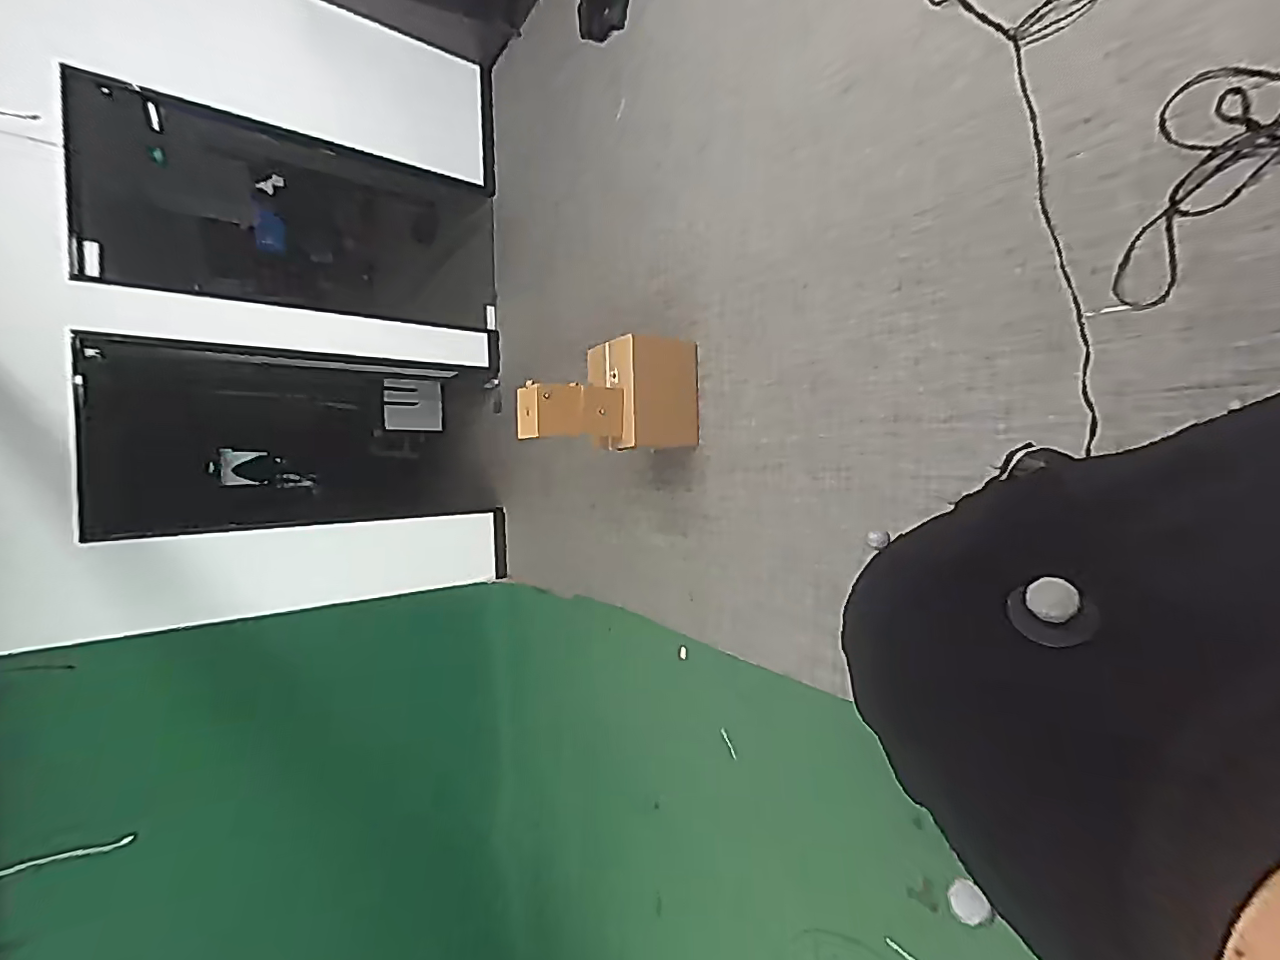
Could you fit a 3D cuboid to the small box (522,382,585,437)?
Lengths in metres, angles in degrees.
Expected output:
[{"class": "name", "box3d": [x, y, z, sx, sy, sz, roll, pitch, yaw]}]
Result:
[{"class": "small box", "box3d": [-0.298, -0.238, 1.872, 0.168, 0.176, 0.179, 2, 93, 55]}]

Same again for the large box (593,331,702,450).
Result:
[{"class": "large box", "box3d": [0.028, -0.328, 2.111, 0.320, 0.320, 0.408, 0, 90, 53]}]
